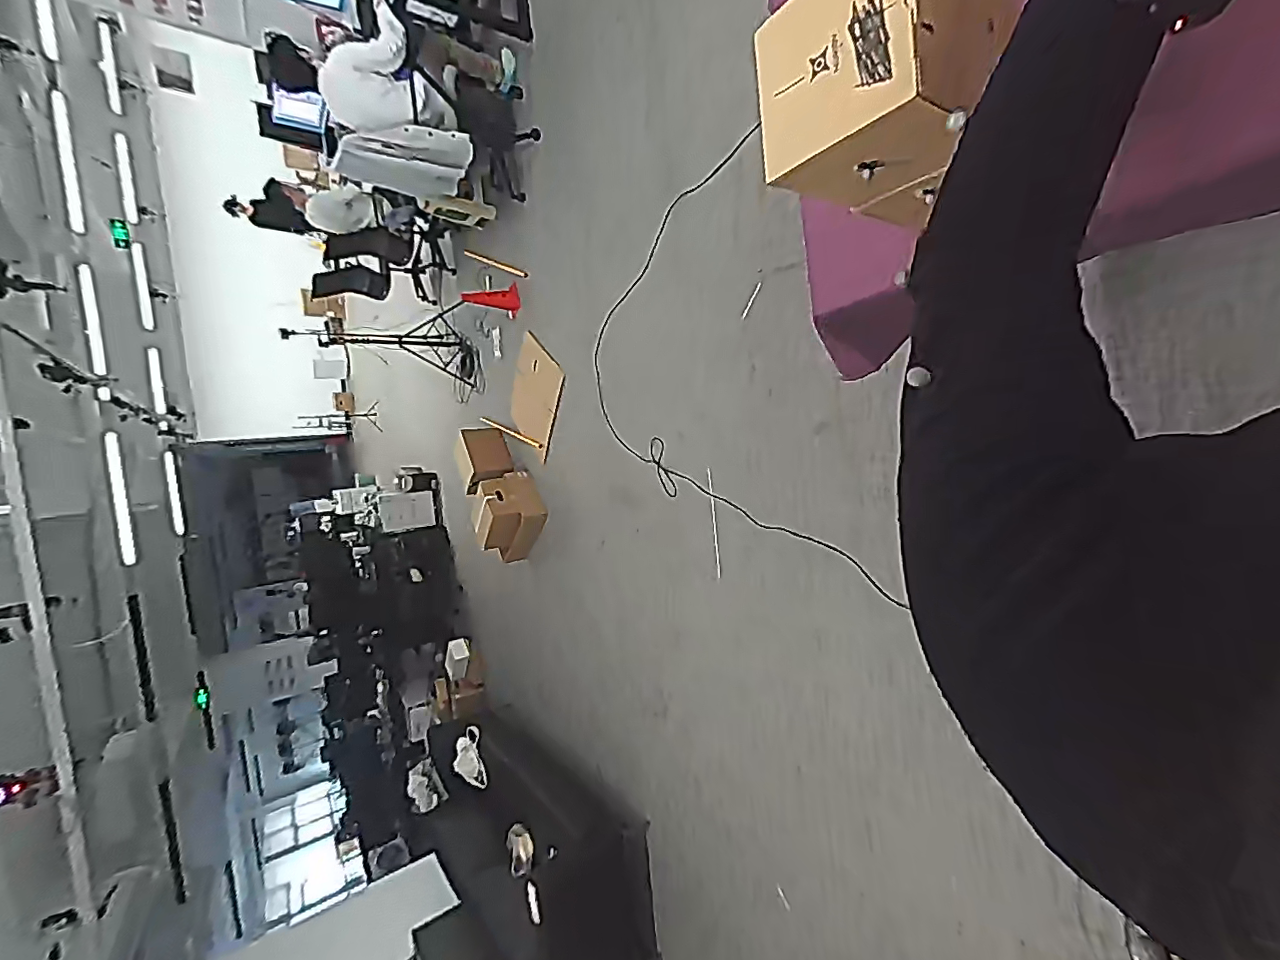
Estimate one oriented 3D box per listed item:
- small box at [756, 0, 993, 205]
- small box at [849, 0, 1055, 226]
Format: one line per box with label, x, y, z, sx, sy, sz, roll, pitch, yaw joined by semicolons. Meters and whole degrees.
small box;0.252;-0.421;0.579;0.179;0.176;0.168;-1;97;56
small box;0.383;-0.438;0.677;0.179;0.176;0.168;0;97;55
